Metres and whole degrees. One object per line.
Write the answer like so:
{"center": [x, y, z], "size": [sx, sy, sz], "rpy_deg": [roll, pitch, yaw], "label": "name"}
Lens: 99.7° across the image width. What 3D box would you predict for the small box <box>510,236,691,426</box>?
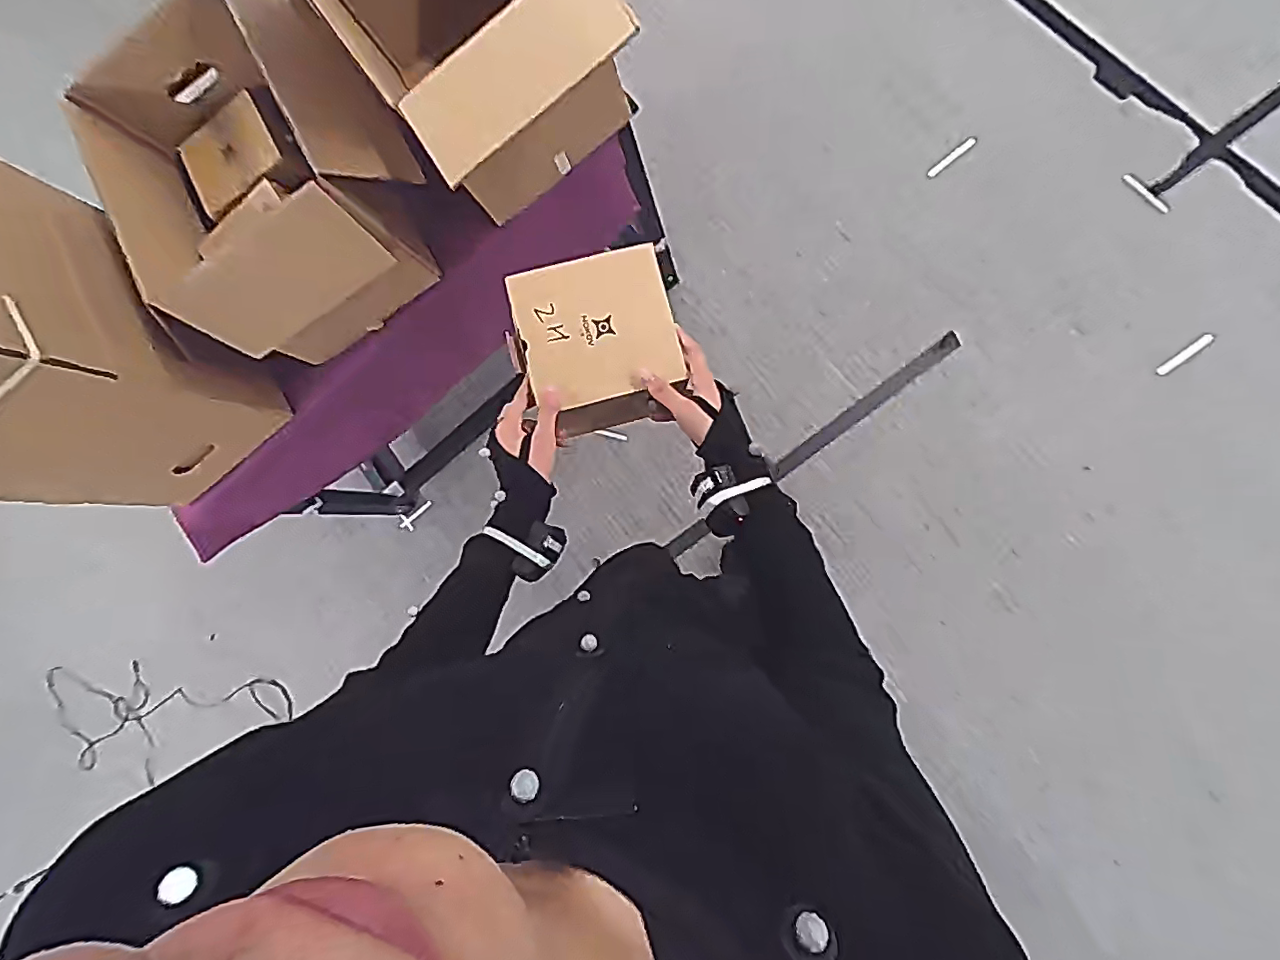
{"center": [-0.045, -0.176, 0.687], "size": [0.179, 0.176, 0.168], "rpy_deg": [-15, 88, 1], "label": "small box"}
